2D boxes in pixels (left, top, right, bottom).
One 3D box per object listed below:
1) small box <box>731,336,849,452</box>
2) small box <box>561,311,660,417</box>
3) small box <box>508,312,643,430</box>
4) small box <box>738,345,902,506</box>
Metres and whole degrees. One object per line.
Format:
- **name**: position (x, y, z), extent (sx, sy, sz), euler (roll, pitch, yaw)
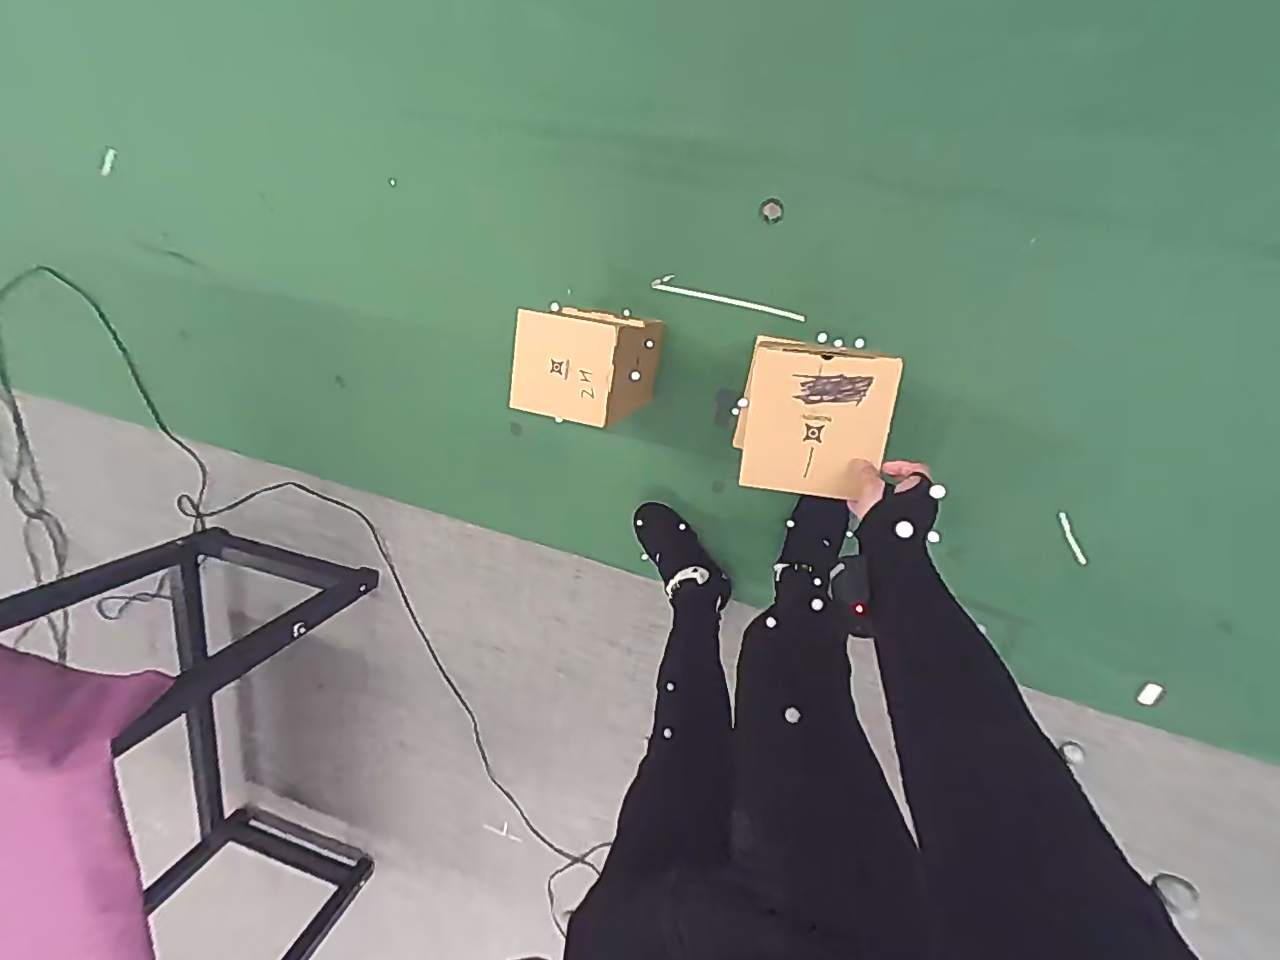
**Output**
- **small box**: position (0.254, -0.130, 0.876), extent (0.168, 0.176, 0.179), euler (13, 108, 10)
- **small box**: position (-0.064, -0.240, 1.106), extent (0.168, 0.176, 0.179), euler (13, 107, 12)
- **small box**: position (-0.109, -0.195, 0.954), extent (0.179, 0.176, 0.168), euler (13, 108, 11)
- **small box**: position (0.228, -0.084, 0.721), extent (0.168, 0.176, 0.179), euler (8, 109, 12)
